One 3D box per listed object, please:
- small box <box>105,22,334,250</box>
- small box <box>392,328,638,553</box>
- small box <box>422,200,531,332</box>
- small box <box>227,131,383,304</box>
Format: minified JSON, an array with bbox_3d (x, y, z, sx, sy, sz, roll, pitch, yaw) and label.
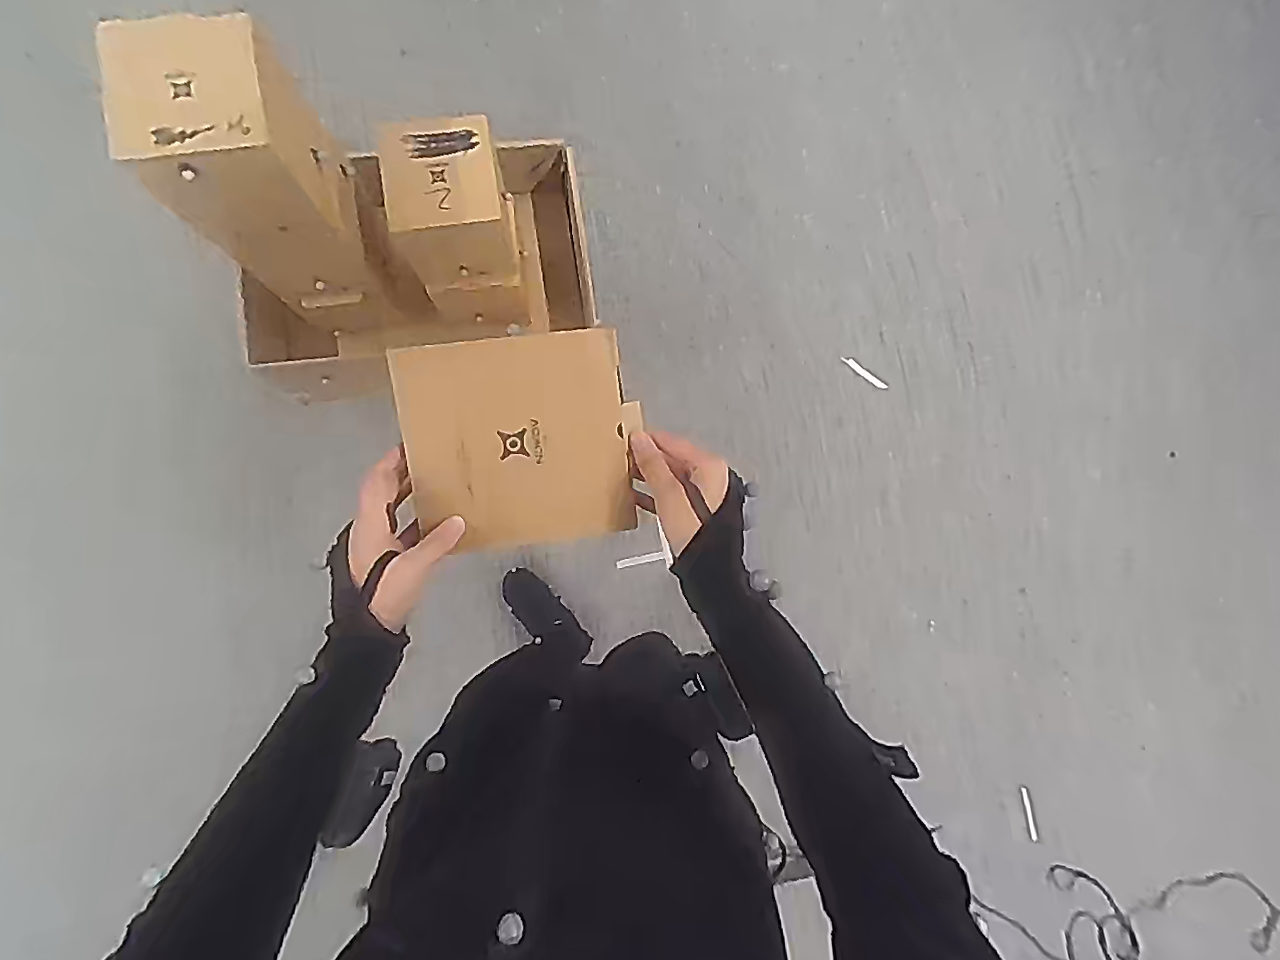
[{"bbox_3d":[-0.520,-0.427,0.691,0.168,0.176,0.179,-11,82,-6],"label":"small box"},{"bbox_3d":[-0.104,-0.041,0.503,0.179,0.176,0.168,-7,97,-6],"label":"small box"},{"bbox_3d":[-0.307,-0.406,1.042,0.168,0.176,0.179,-6,83,-5],"label":"small box"},{"bbox_3d":[-0.528,-0.405,0.854,0.168,0.176,0.179,-11,84,-6],"label":"small box"}]
